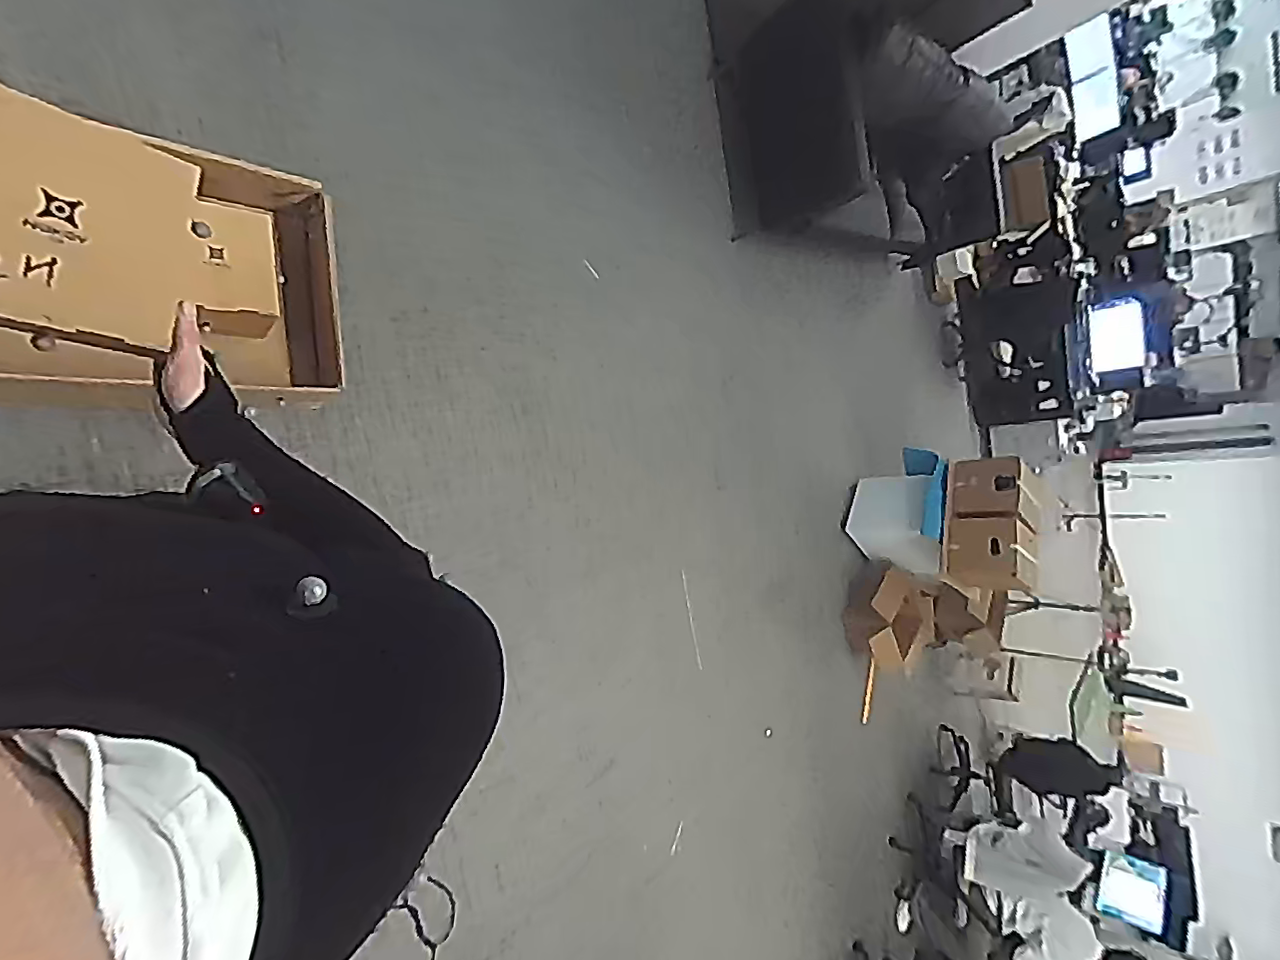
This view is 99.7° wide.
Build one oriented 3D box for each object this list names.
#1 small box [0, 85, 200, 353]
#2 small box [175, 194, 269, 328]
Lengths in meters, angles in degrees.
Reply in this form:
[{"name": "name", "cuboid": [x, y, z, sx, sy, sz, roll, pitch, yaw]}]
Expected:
[{"name": "small box", "cuboid": [-0.540, -0.226, 0.501, 0.168, 0.176, 0.179, 9, 91, -47]}, {"name": "small box", "cuboid": [-0.766, -0.379, 0.943, 0.168, 0.176, 0.179, -6, 94, -44]}]
